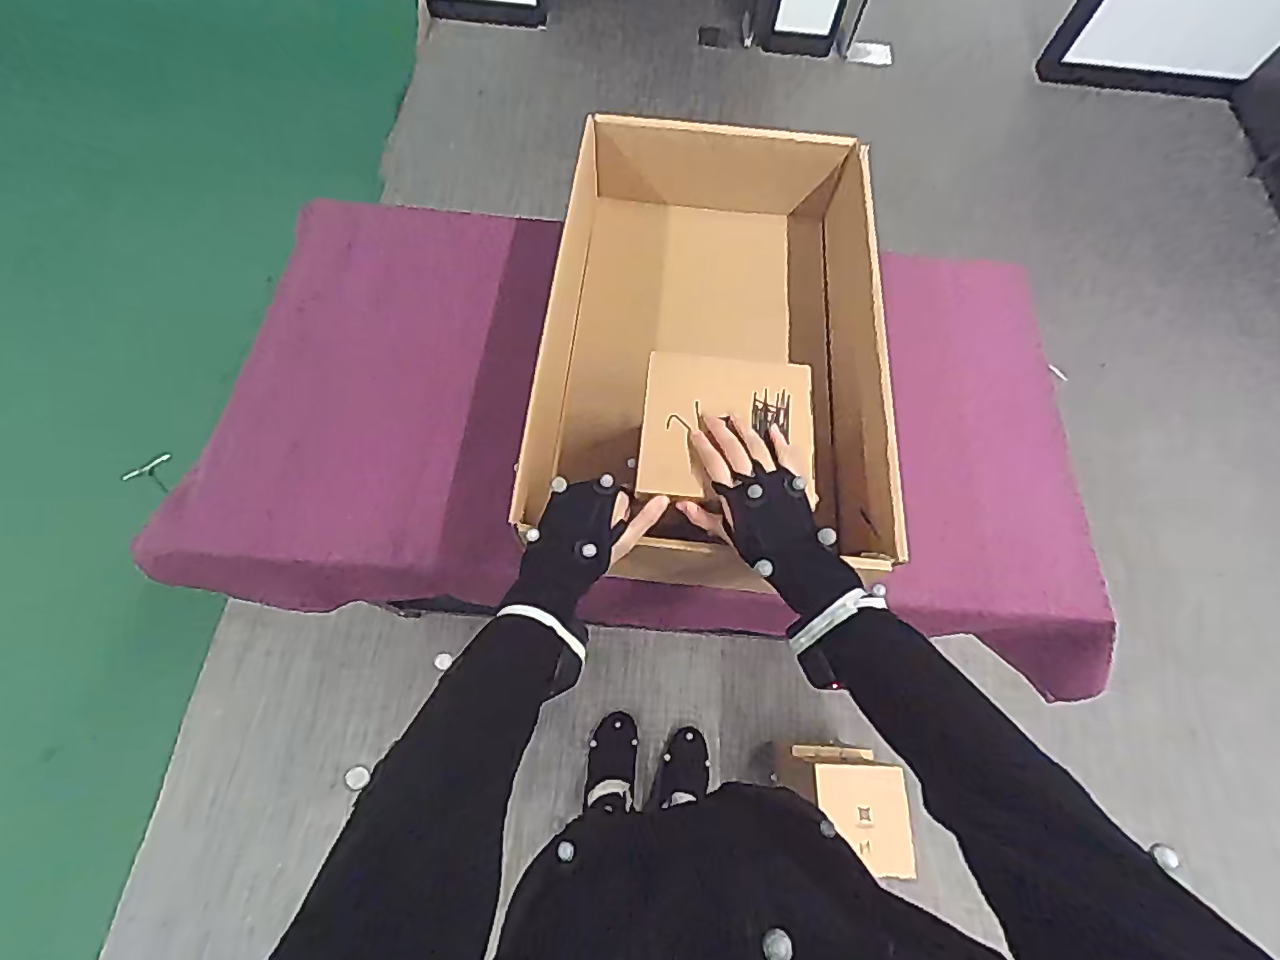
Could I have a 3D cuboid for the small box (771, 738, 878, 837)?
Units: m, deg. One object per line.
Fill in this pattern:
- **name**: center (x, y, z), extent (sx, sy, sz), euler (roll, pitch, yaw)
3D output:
- **small box**: center (0.400, 0.672, 1.200), extent (0.179, 0.176, 0.168), euler (4, 68, 0)
